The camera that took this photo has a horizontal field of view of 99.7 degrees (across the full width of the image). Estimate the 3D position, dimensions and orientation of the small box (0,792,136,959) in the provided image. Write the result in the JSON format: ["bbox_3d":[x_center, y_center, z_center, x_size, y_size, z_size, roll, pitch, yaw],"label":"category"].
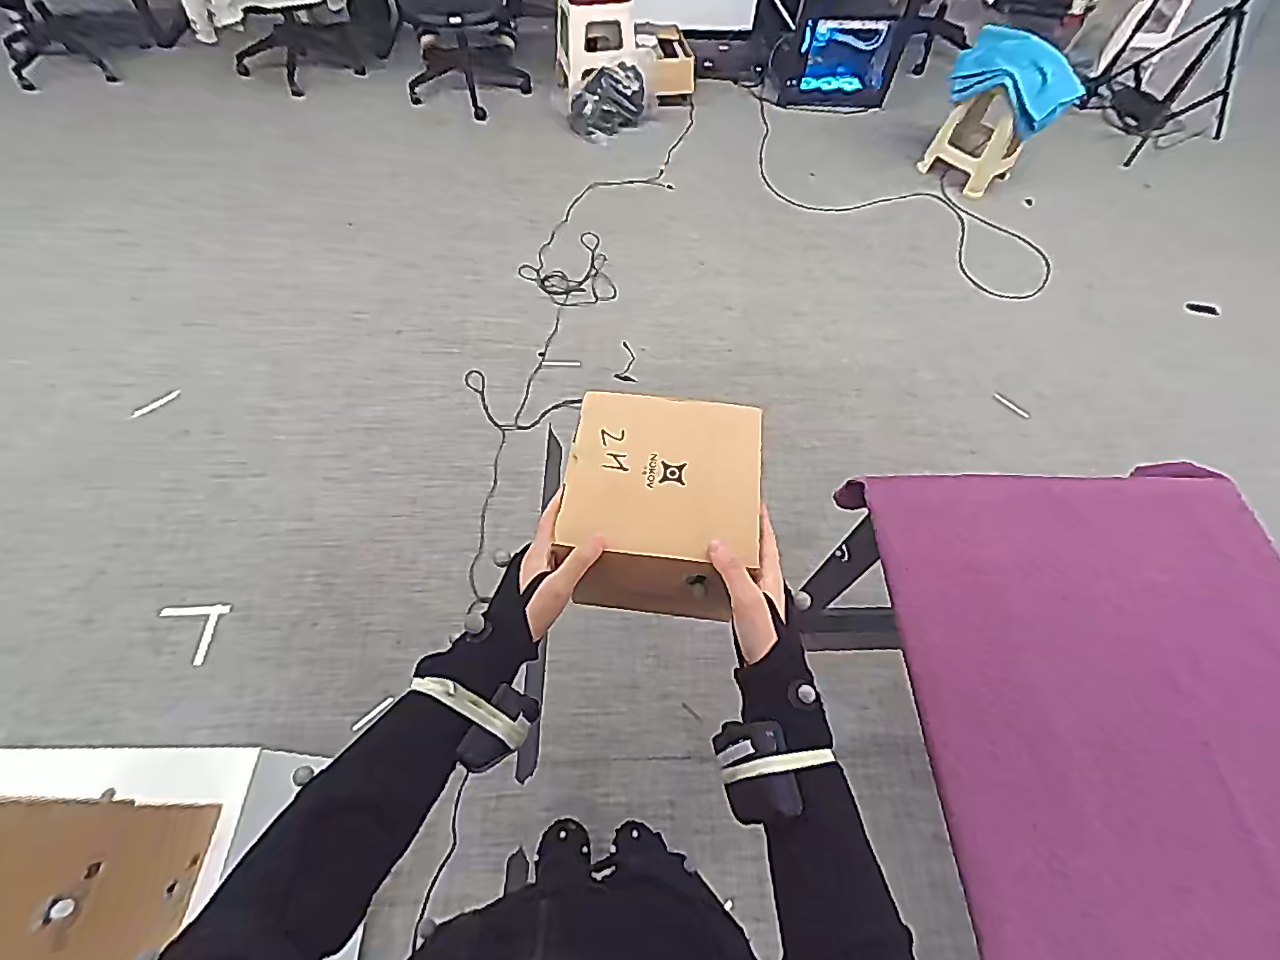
[{"bbox_3d":[-0.626,0.373,0.477,0.179,0.176,0.168,3,60,-2],"label":"small box"}]

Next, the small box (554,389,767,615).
[{"bbox_3d":[0.025,0.031,0.550,0.179,0.176,0.168,6,61,4],"label":"small box"}]
